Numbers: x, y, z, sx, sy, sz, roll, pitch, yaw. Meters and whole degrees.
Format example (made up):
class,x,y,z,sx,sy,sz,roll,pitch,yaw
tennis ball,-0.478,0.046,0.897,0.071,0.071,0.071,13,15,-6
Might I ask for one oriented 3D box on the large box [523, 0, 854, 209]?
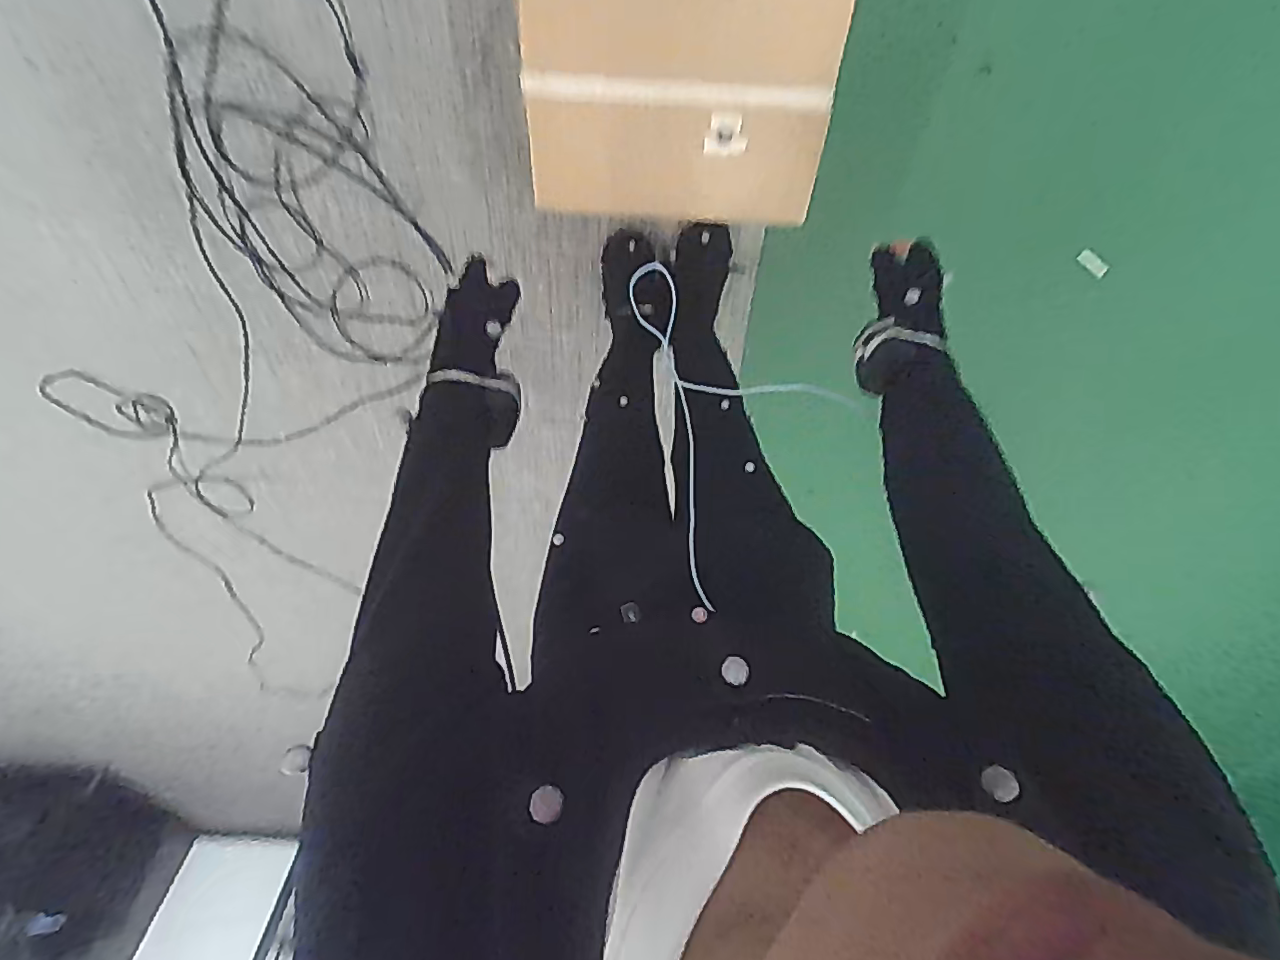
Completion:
class,x,y,z,sx,sy,sz,roll,pitch,yaw
large box,0.056,-0.618,0.807,0.408,0.320,0.320,2,133,-1
